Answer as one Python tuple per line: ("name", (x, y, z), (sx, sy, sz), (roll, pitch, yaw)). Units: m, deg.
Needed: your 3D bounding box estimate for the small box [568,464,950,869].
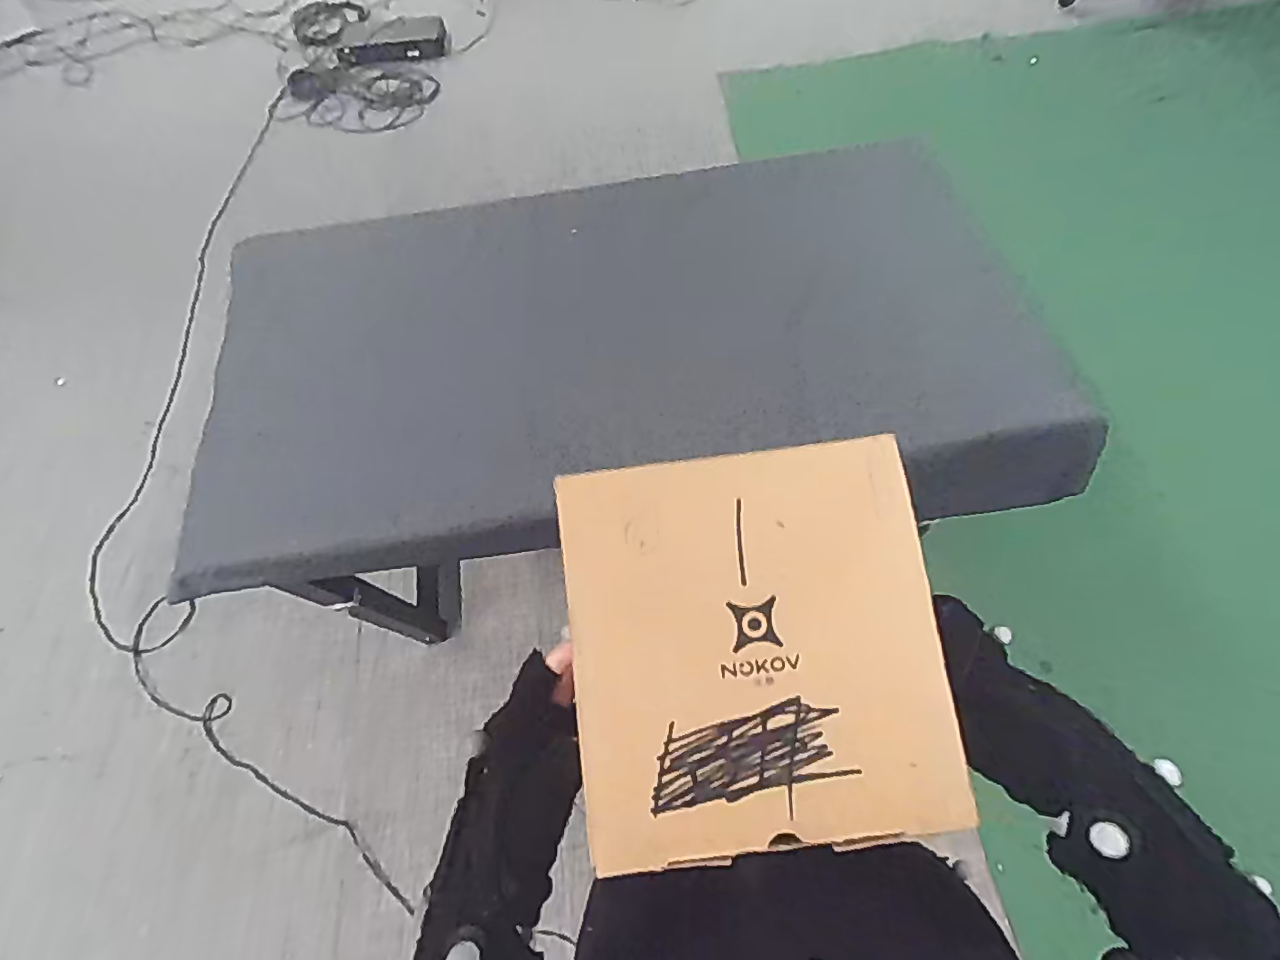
("small box", (0.053, 0.096, 0.336), (0.168, 0.176, 0.179), (-6, 80, -1))
